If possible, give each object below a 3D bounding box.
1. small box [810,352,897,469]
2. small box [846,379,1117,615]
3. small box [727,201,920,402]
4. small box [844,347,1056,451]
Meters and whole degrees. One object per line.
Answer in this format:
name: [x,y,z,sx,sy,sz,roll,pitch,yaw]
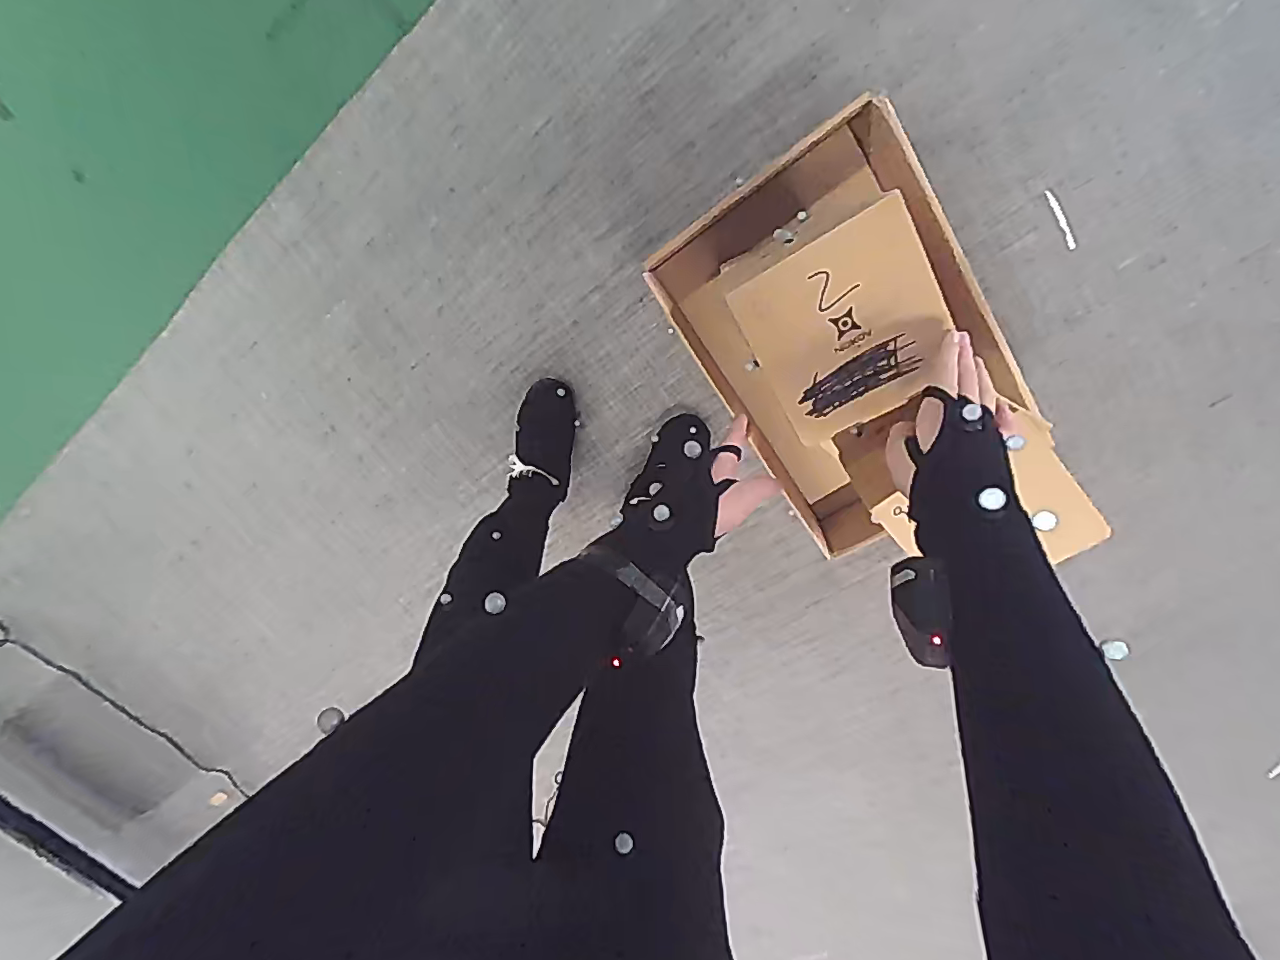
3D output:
small box: [0.411,-0.104,0.920,0.168,0.176,0.179,38,112,-8]
small box: [0.368,0.011,0.618,0.168,0.176,0.179,-40,103,21]
small box: [0.227,-0.232,0.712,0.168,0.176,0.179,-29,107,16]
small box: [0.410,-0.064,0.758,0.168,0.176,0.179,28,113,-4]
